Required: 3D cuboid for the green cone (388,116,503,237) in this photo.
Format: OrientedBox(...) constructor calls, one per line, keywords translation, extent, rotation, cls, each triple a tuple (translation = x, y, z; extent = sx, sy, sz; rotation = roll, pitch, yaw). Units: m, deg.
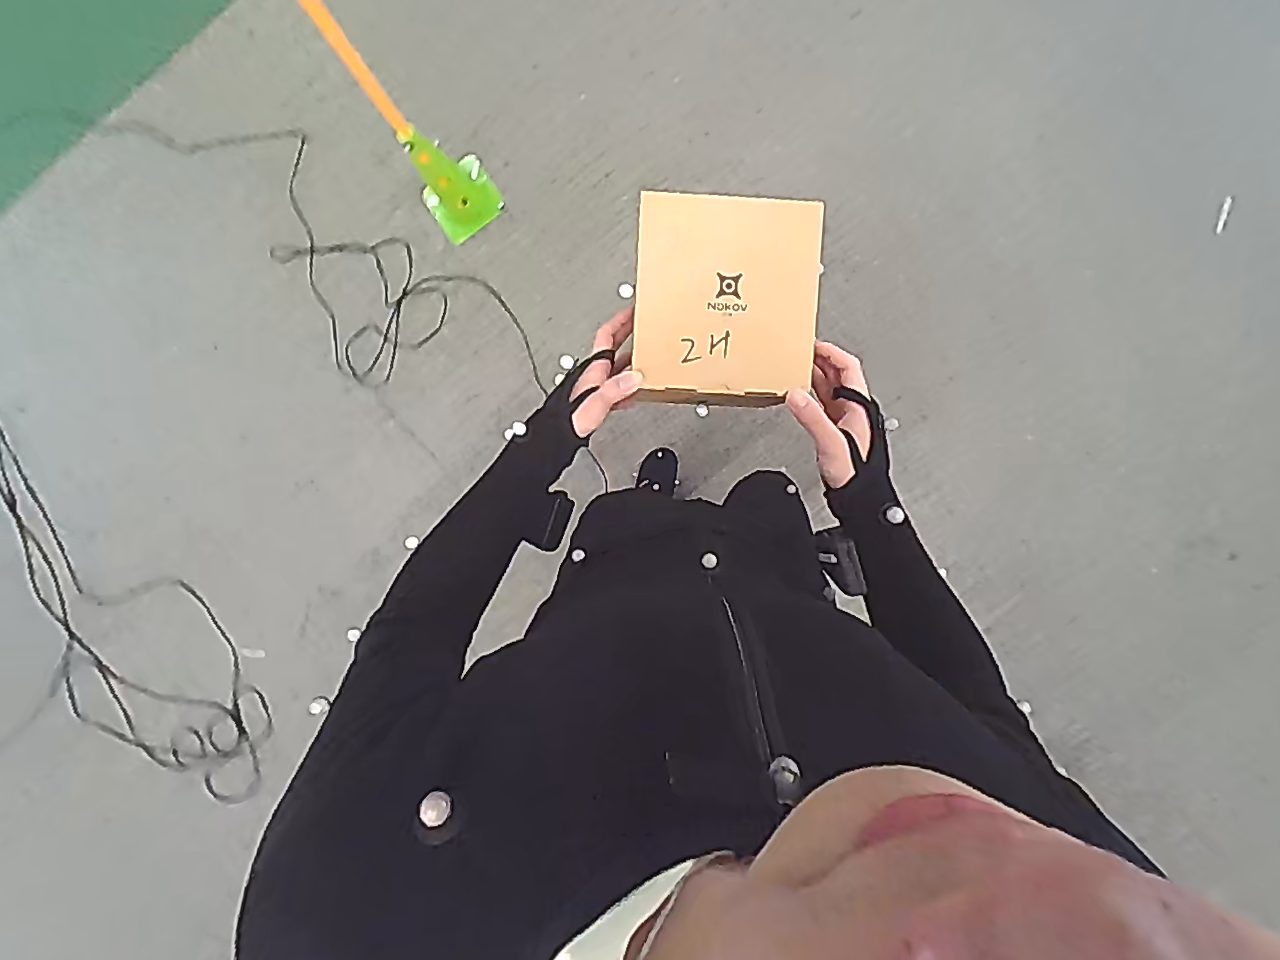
OrientedBox(translation=(-0.547, -0.845, 1.435), extent=(0.202, 0.368, 0.200), rotation=(-34, 89, 7), cls="green cone")
